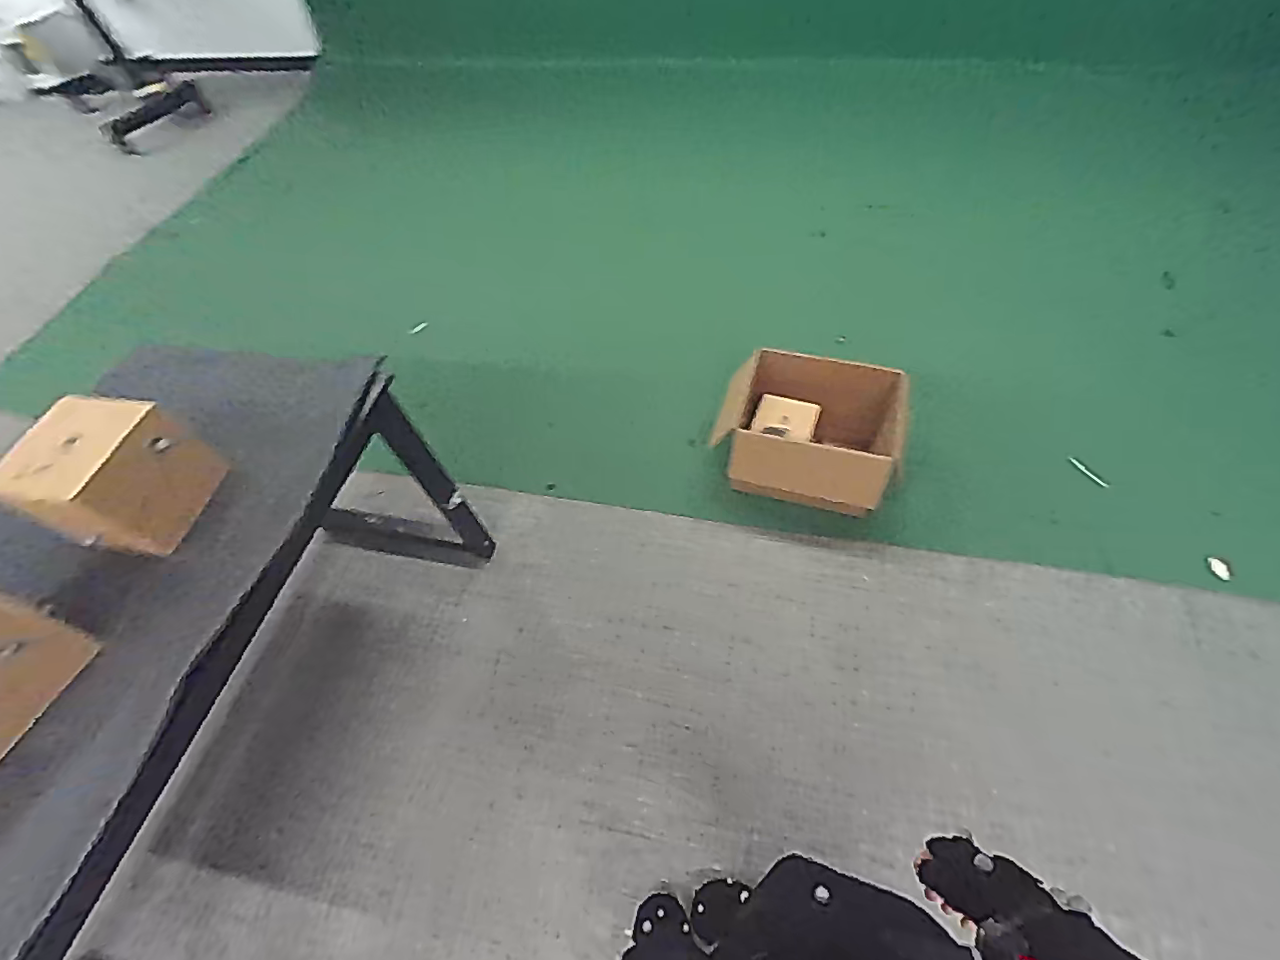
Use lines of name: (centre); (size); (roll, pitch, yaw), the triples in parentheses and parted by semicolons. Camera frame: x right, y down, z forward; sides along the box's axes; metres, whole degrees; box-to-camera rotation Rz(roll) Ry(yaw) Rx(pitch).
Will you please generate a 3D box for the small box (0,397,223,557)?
small box: (-0.806, -0.003, 0.838); (0.168, 0.176, 0.179); (6, 58, 9)
